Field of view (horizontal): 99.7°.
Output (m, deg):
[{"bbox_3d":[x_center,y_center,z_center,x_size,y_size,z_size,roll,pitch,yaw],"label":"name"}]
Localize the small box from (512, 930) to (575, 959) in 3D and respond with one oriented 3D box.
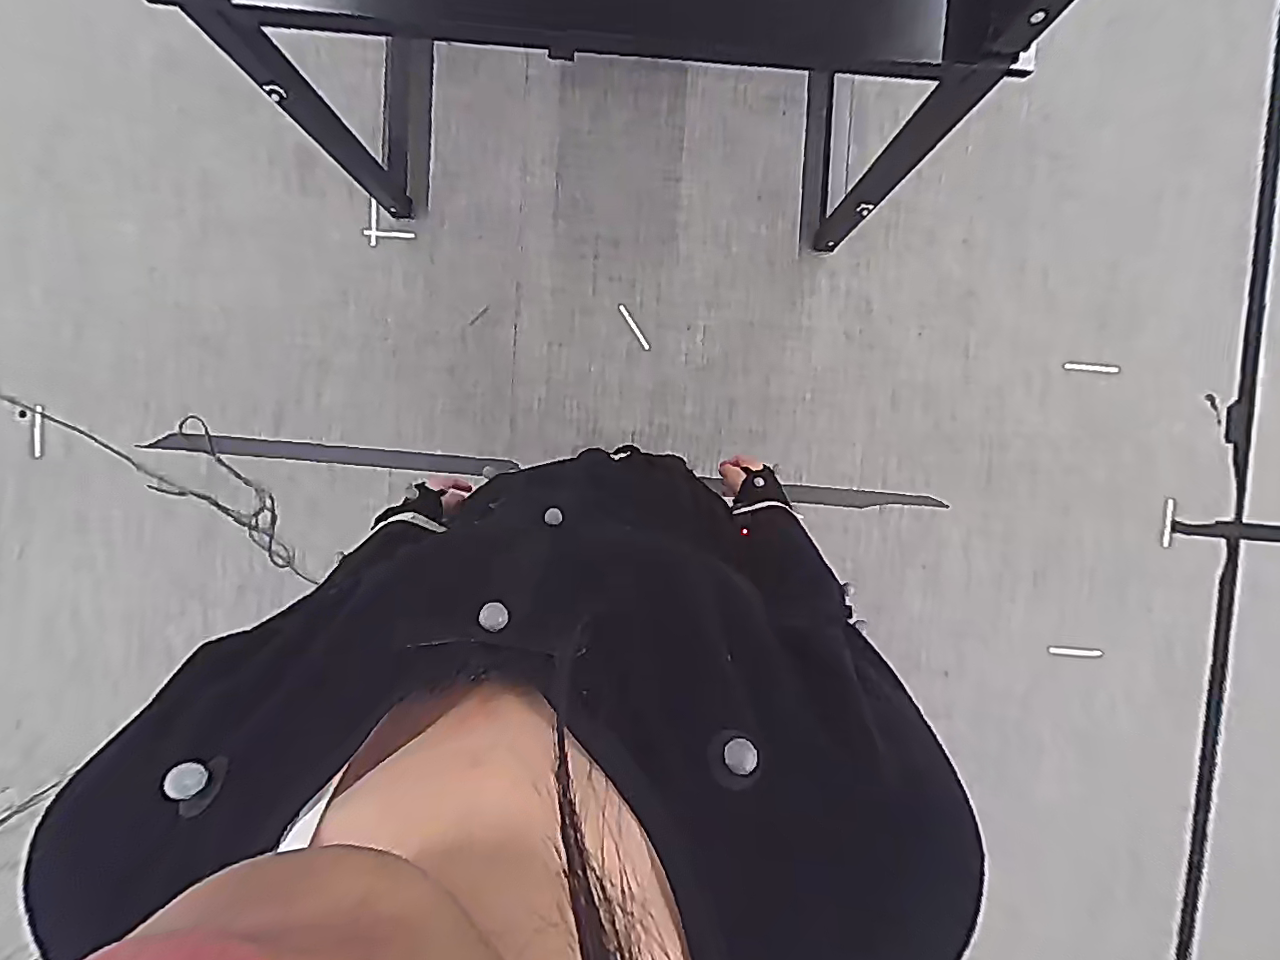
[{"bbox_3d":[-0.267,1.367,1.463,0.168,0.176,0.179,2,94,-1],"label":"small box"}]
